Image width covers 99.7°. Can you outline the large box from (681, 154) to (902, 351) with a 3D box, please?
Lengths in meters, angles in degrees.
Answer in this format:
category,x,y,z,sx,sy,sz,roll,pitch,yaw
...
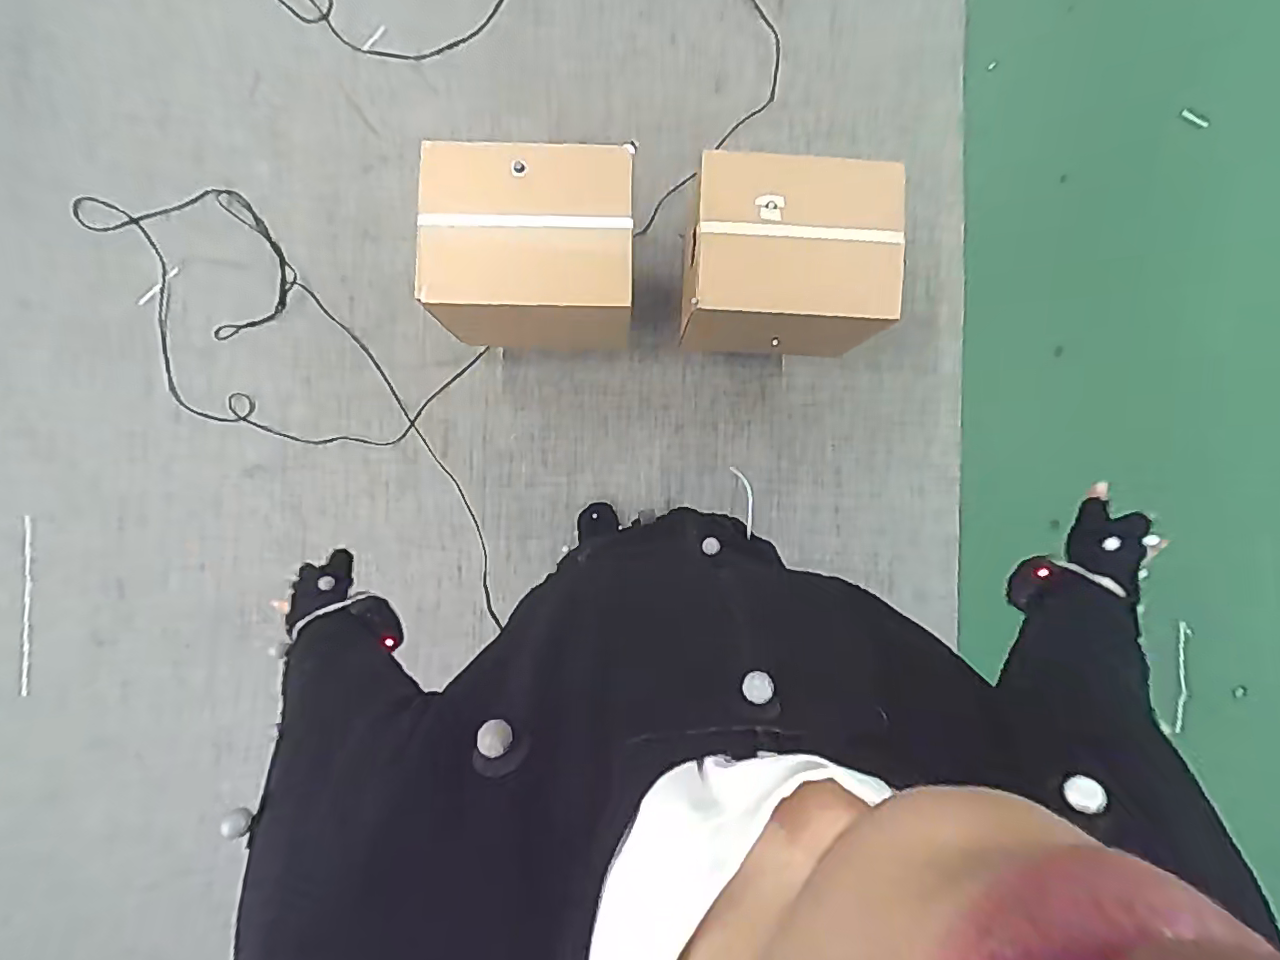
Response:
category,x,y,z,sx,sy,sz,roll,pitch,yaw
large box,0.312,-0.480,1.209,0.408,0.320,0.320,3,89,-1
